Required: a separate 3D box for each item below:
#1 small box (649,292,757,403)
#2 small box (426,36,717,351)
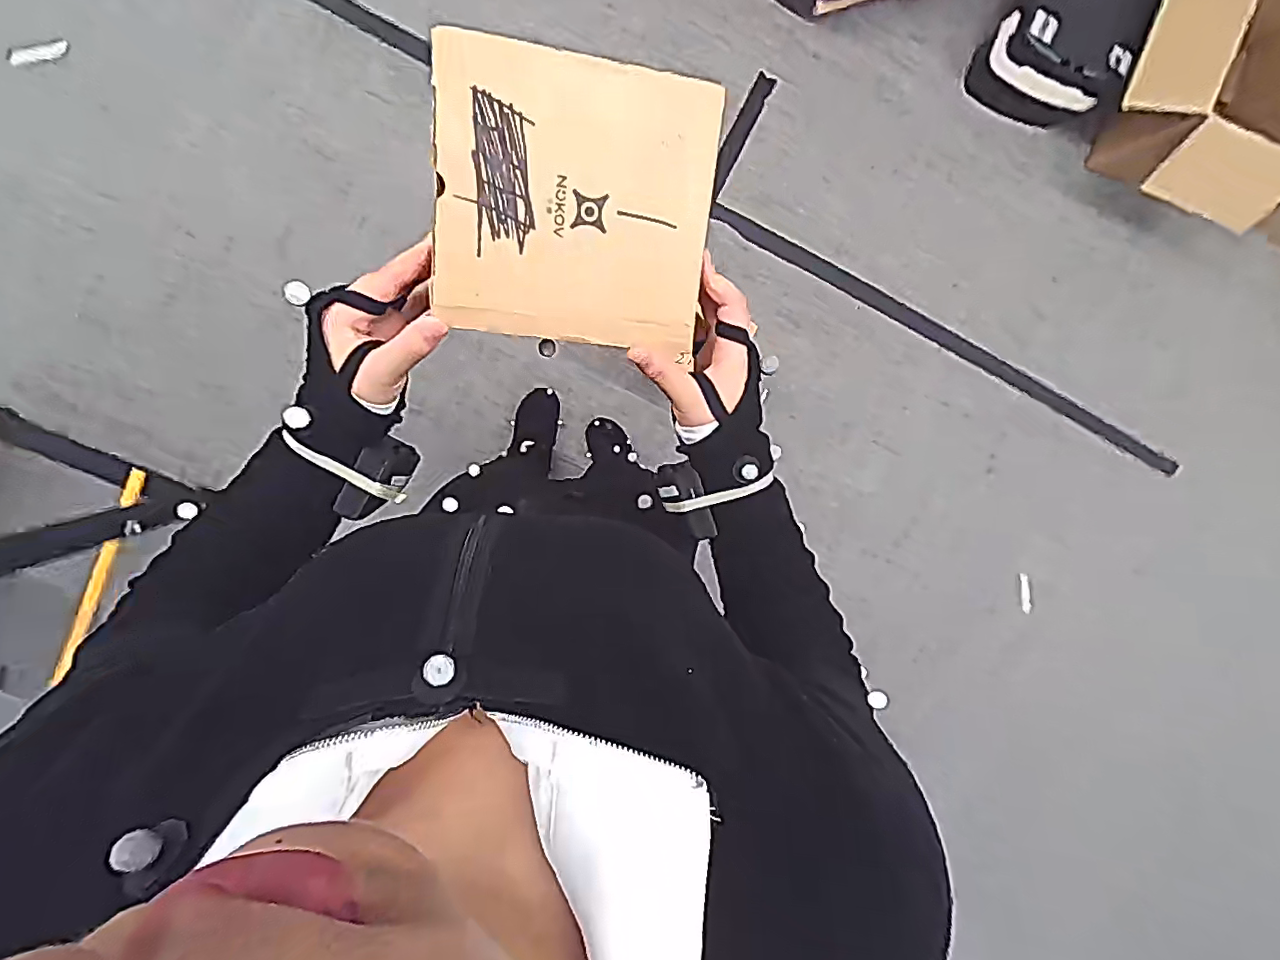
[{"bbox_3d":[0.129,-0.289,1.209,0.168,0.176,0.179,28,97,-8],"label":"small box"},{"bbox_3d":[-0.057,-0.195,0.420,0.179,0.176,0.168,3,106,-11],"label":"small box"}]
